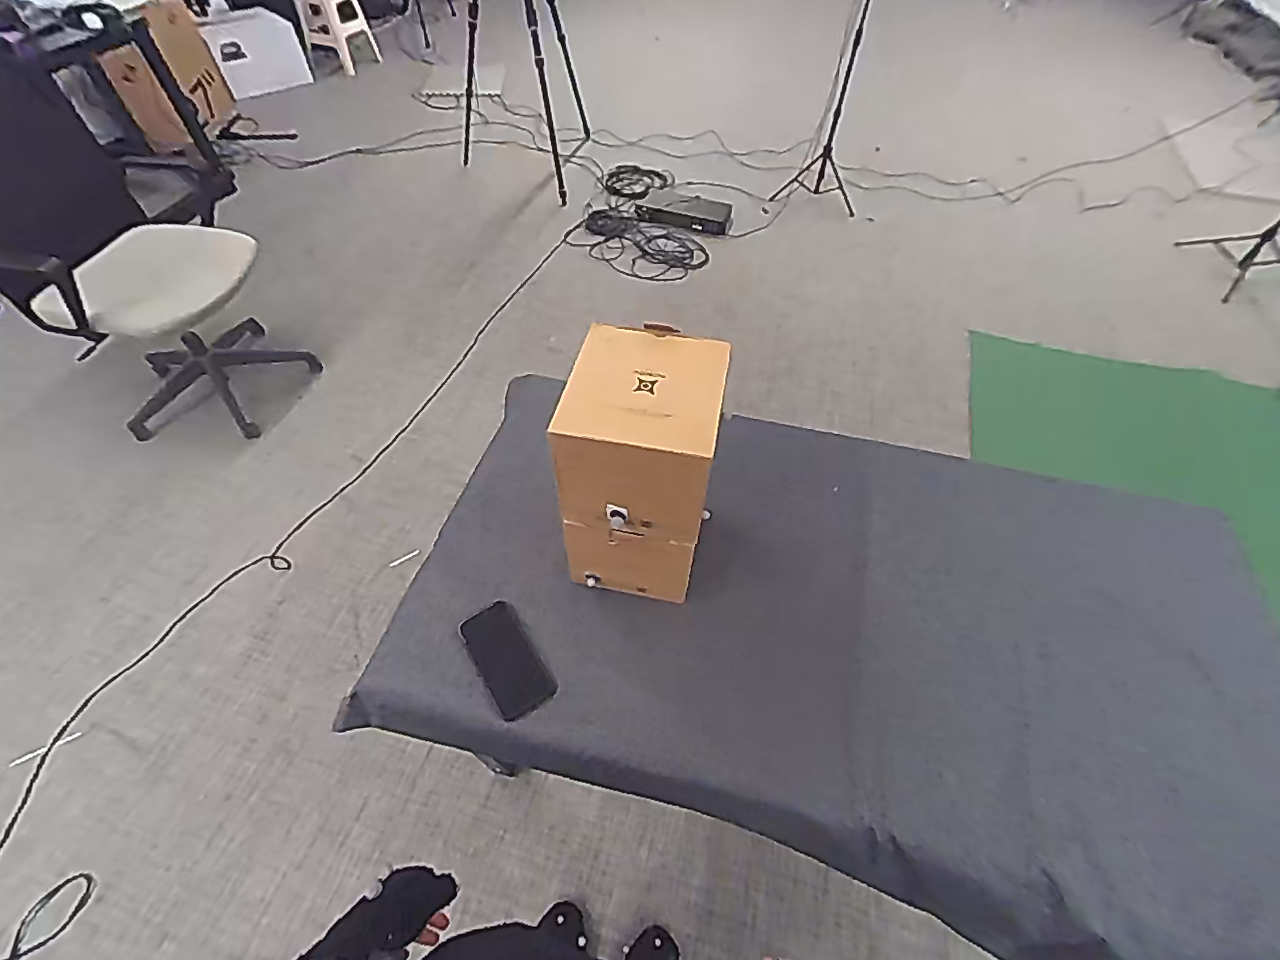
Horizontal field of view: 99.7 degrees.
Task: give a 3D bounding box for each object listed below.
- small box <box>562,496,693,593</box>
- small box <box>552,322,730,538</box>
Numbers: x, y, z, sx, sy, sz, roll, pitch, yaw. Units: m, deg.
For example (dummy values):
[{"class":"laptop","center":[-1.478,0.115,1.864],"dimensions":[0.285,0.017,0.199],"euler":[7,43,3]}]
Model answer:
[{"class":"small box","center":[-0.002,0.040,0.769],"dimensions":[0.168,0.176,0.179],"euler":[10,53,6]},{"class":"small box","center":[0.005,-0.056,0.639],"dimensions":[0.168,0.176,0.179],"euler":[9,55,6]}]
